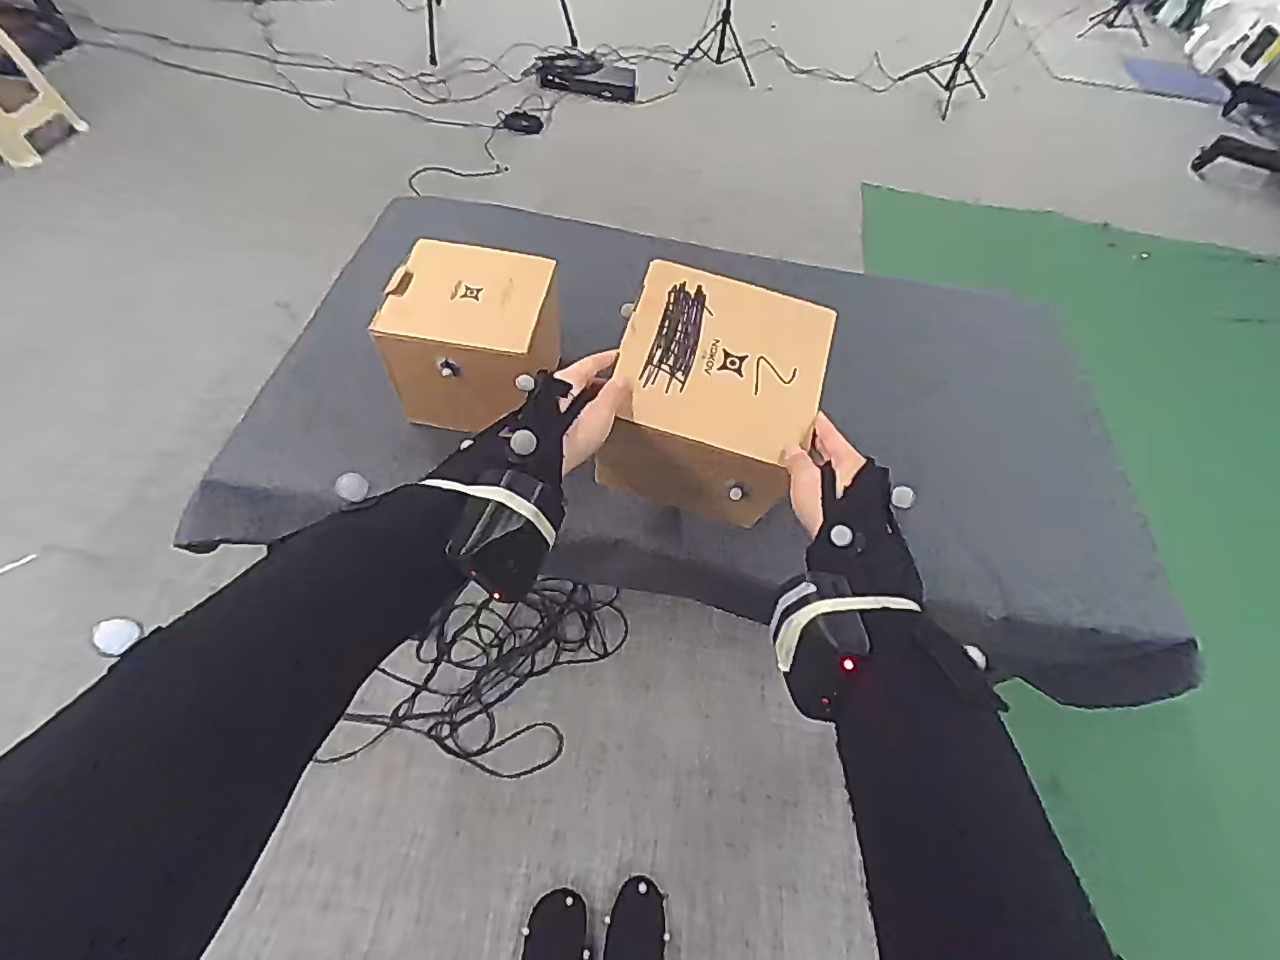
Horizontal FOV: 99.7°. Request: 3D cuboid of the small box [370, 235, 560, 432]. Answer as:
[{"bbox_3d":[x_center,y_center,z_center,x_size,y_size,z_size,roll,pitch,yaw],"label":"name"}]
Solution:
[{"bbox_3d":[-0.206,-0.181,0.695,0.179,0.176,0.168,9,59,-1],"label":"small box"}]
